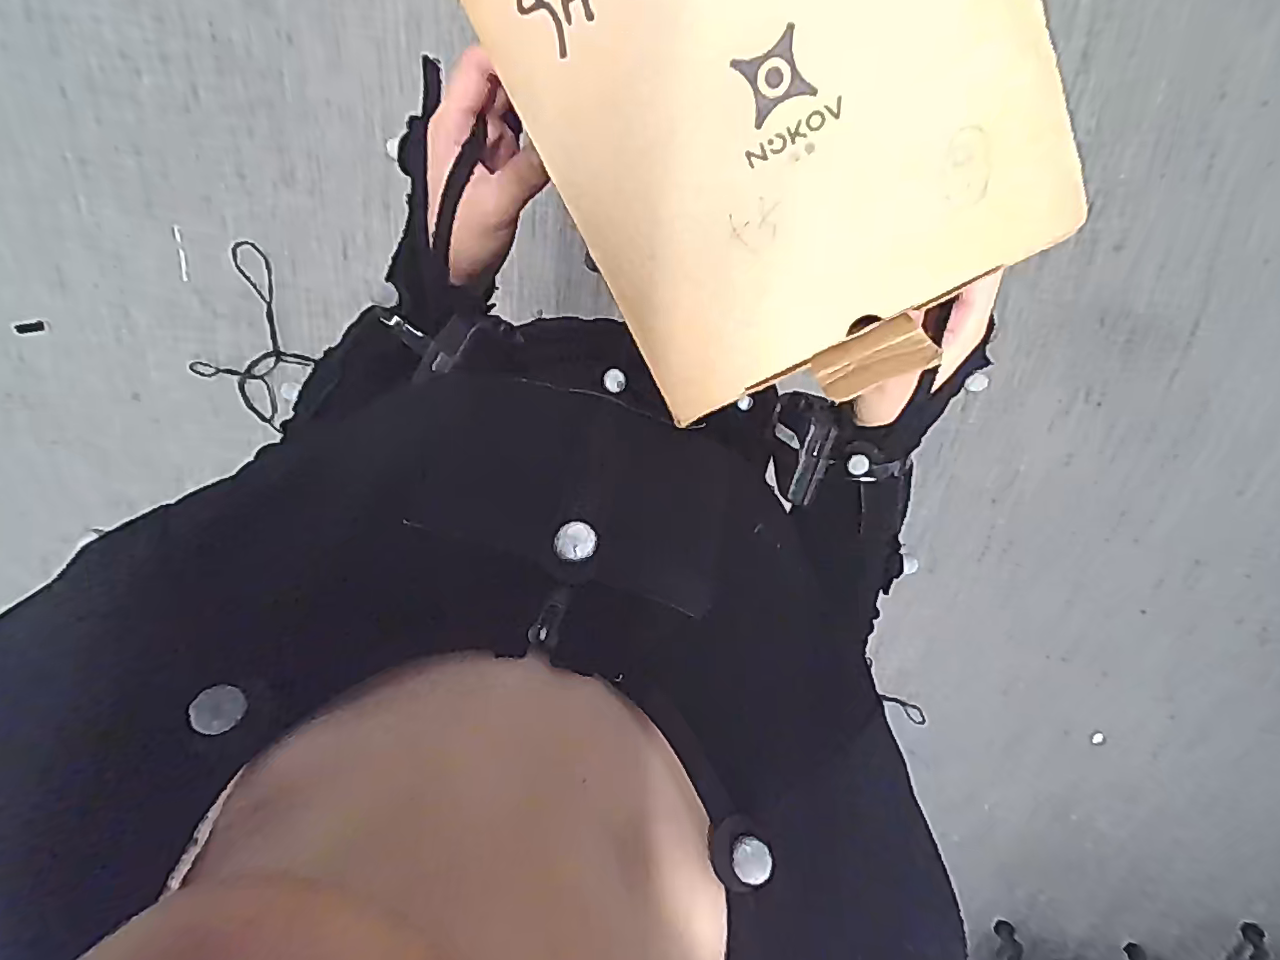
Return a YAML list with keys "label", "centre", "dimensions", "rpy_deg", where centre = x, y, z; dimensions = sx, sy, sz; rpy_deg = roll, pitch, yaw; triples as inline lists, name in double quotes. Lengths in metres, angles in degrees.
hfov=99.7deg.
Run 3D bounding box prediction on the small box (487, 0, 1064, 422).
- label: "small box"
  centre: [0.058, -0.156, 0.270]
  dimensions: [0.168, 0.176, 0.179]
  rpy_deg: [-23, 108, 11]
